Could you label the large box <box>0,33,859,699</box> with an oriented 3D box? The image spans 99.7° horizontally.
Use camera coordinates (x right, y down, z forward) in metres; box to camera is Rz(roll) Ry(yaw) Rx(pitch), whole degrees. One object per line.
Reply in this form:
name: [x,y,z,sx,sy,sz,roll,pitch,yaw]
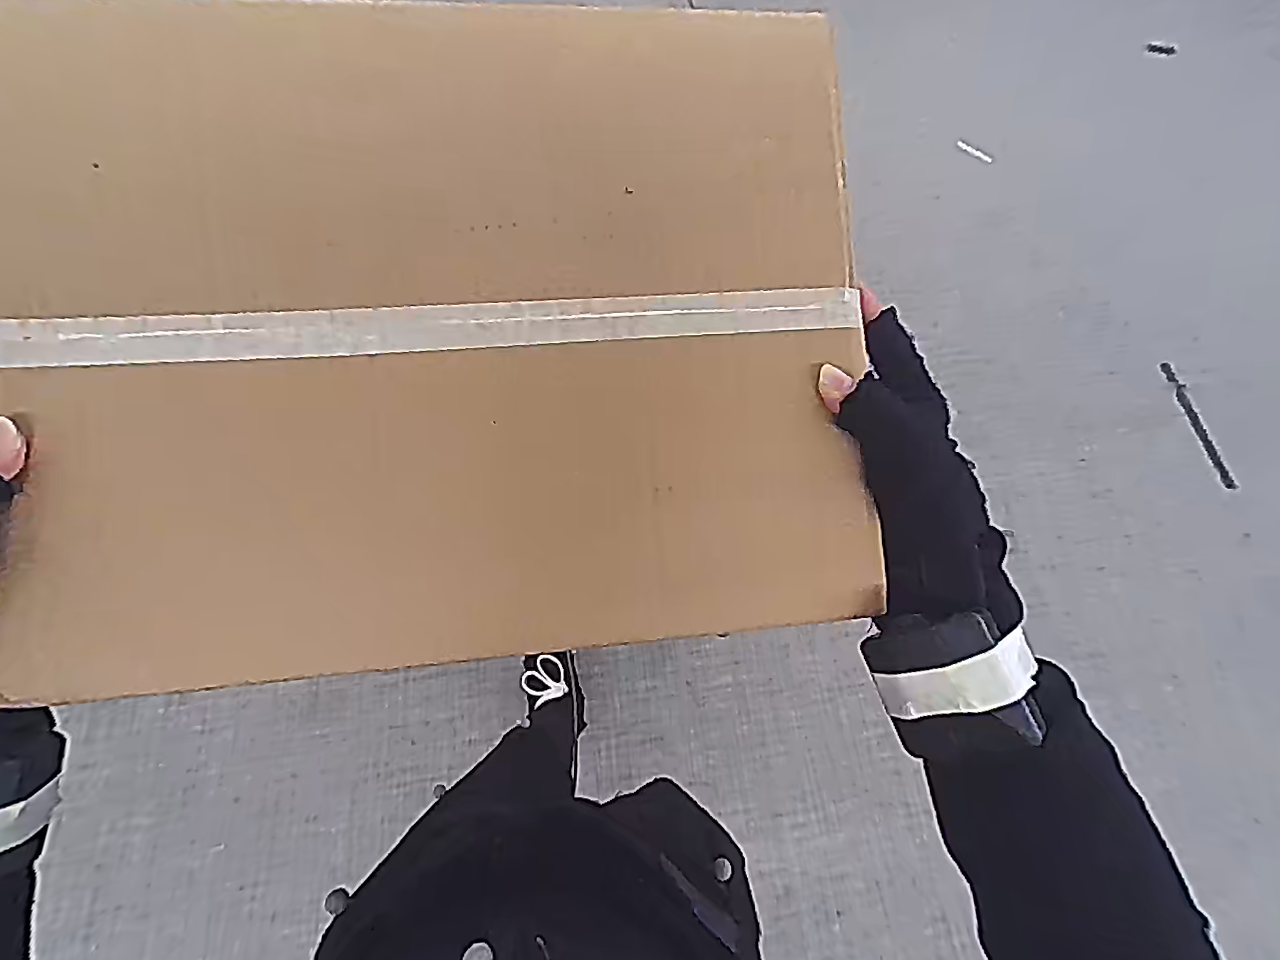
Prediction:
large box: [-0.105,-0.065,0.416,0.408,0.320,0.320,-4,88,-7]
